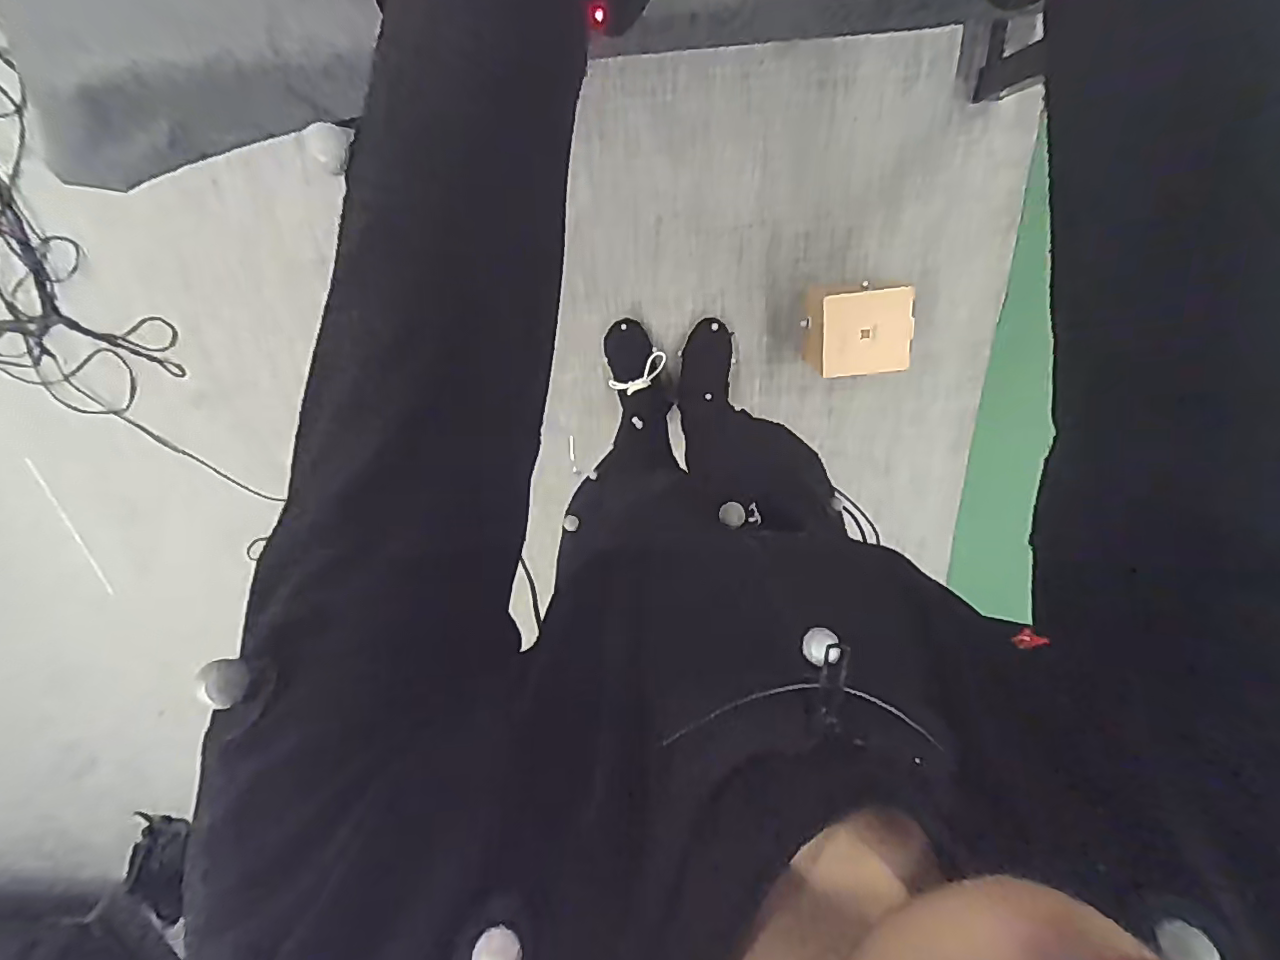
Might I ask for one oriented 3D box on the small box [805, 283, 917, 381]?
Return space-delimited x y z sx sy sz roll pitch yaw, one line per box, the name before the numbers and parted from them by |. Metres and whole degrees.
small box | 0.457 -0.317 1.142 0.179 0.176 0.168 -6 113 7
